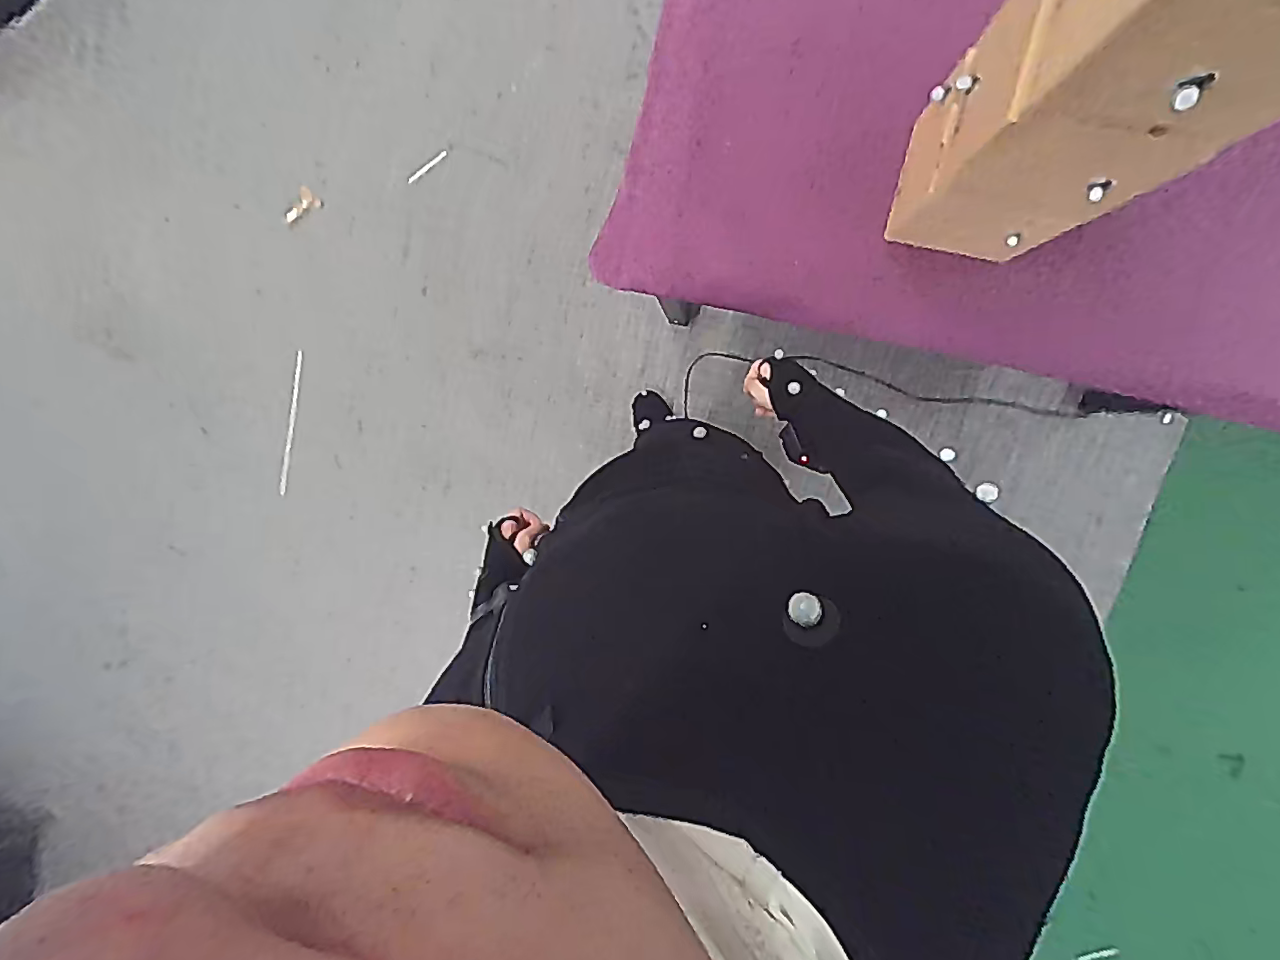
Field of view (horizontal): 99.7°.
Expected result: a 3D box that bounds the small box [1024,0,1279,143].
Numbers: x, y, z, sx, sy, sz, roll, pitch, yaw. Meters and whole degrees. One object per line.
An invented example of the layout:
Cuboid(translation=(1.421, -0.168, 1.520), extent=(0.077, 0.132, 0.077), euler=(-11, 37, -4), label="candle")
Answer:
Cuboid(translation=(0.412, -0.370, 0.374), extent=(0.168, 0.176, 0.179), euler=(13, 98, 4), label="small box")

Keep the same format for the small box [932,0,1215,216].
Cuboid(translation=(0.430, -0.384, 0.536), extent=(0.179, 0.176, 0.168), euler=(14, 98, 6), label="small box")
